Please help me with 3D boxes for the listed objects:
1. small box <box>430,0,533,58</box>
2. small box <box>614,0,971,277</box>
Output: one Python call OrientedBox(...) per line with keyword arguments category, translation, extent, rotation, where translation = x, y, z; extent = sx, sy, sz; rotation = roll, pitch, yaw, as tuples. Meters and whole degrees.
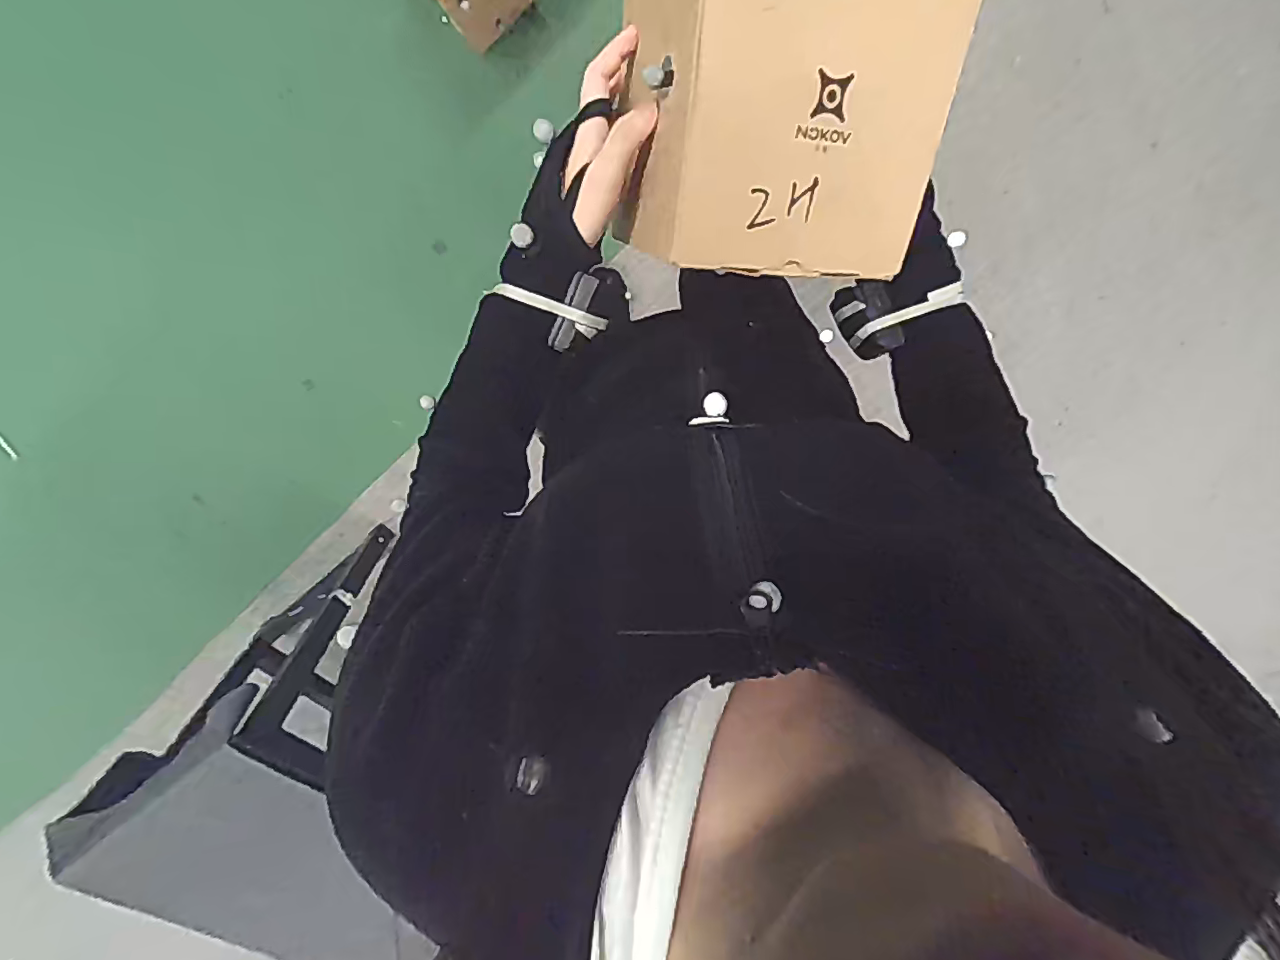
OrientedBox(category="small box", translation=(-0.316, -0.929, 0.990), extent=(0.168, 0.176, 0.179), rotation=(-36, 115, 12))
OrientedBox(category="small box", translation=(0.082, -0.250, 0.380), extent=(0.168, 0.176, 0.179), rotation=(-4, 119, -16))
